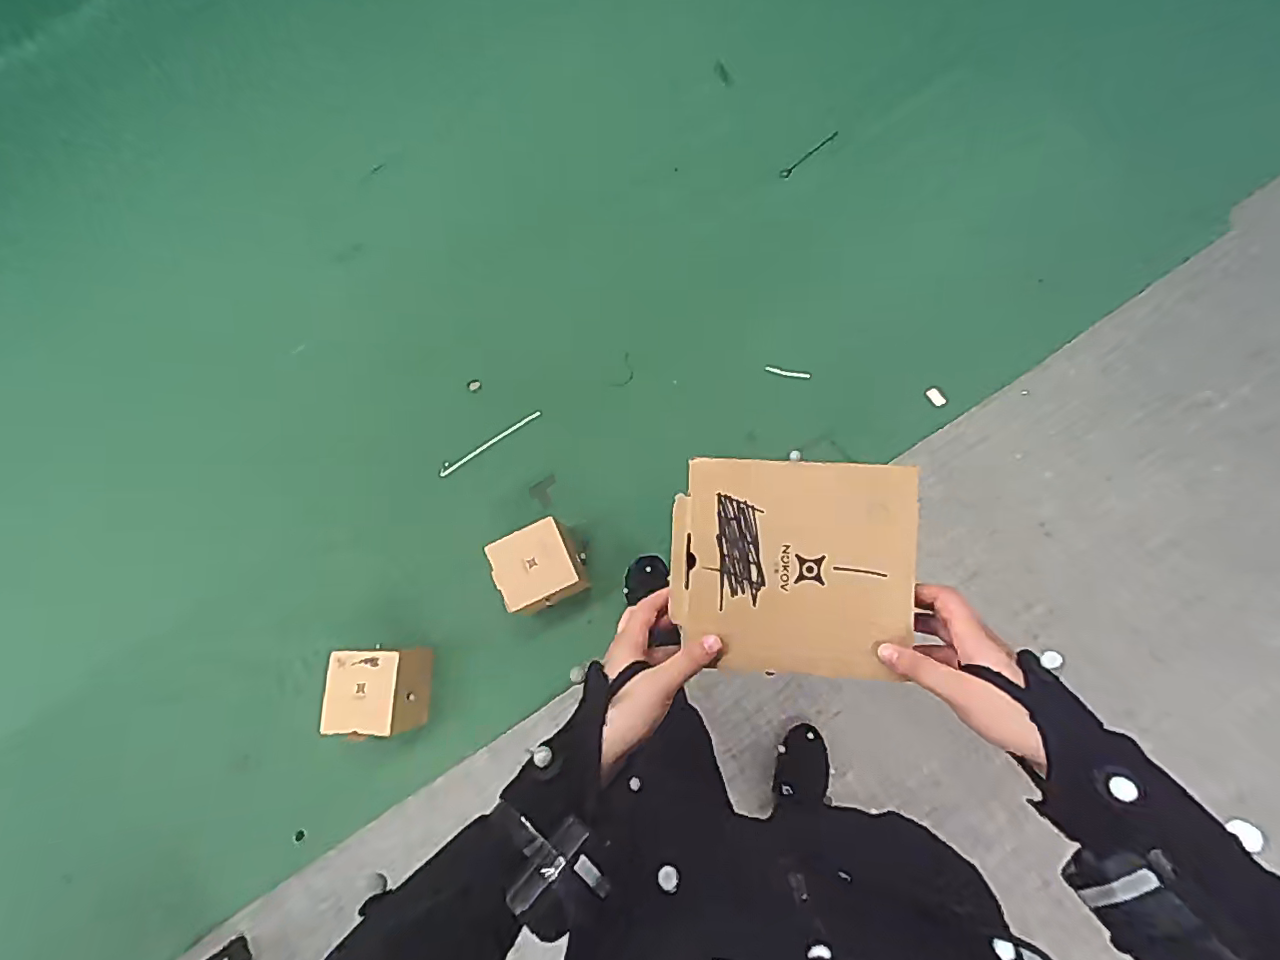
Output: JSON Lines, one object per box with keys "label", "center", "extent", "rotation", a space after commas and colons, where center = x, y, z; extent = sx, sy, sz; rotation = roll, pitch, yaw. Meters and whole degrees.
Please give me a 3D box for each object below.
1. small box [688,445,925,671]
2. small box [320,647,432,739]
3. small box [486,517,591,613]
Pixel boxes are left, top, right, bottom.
{"label": "small box", "center": [0.136, 0.063, 0.498], "extent": [0.179, 0.176, 0.168], "rotation": [3, 87, 4]}
{"label": "small box", "center": [-0.601, 0.486, 1.254], "extent": [0.168, 0.176, 0.179], "rotation": [-1, 76, 6]}
{"label": "small box", "center": [-0.235, 0.209, 1.288], "extent": [0.179, 0.176, 0.168], "rotation": [-25, 76, -2]}
